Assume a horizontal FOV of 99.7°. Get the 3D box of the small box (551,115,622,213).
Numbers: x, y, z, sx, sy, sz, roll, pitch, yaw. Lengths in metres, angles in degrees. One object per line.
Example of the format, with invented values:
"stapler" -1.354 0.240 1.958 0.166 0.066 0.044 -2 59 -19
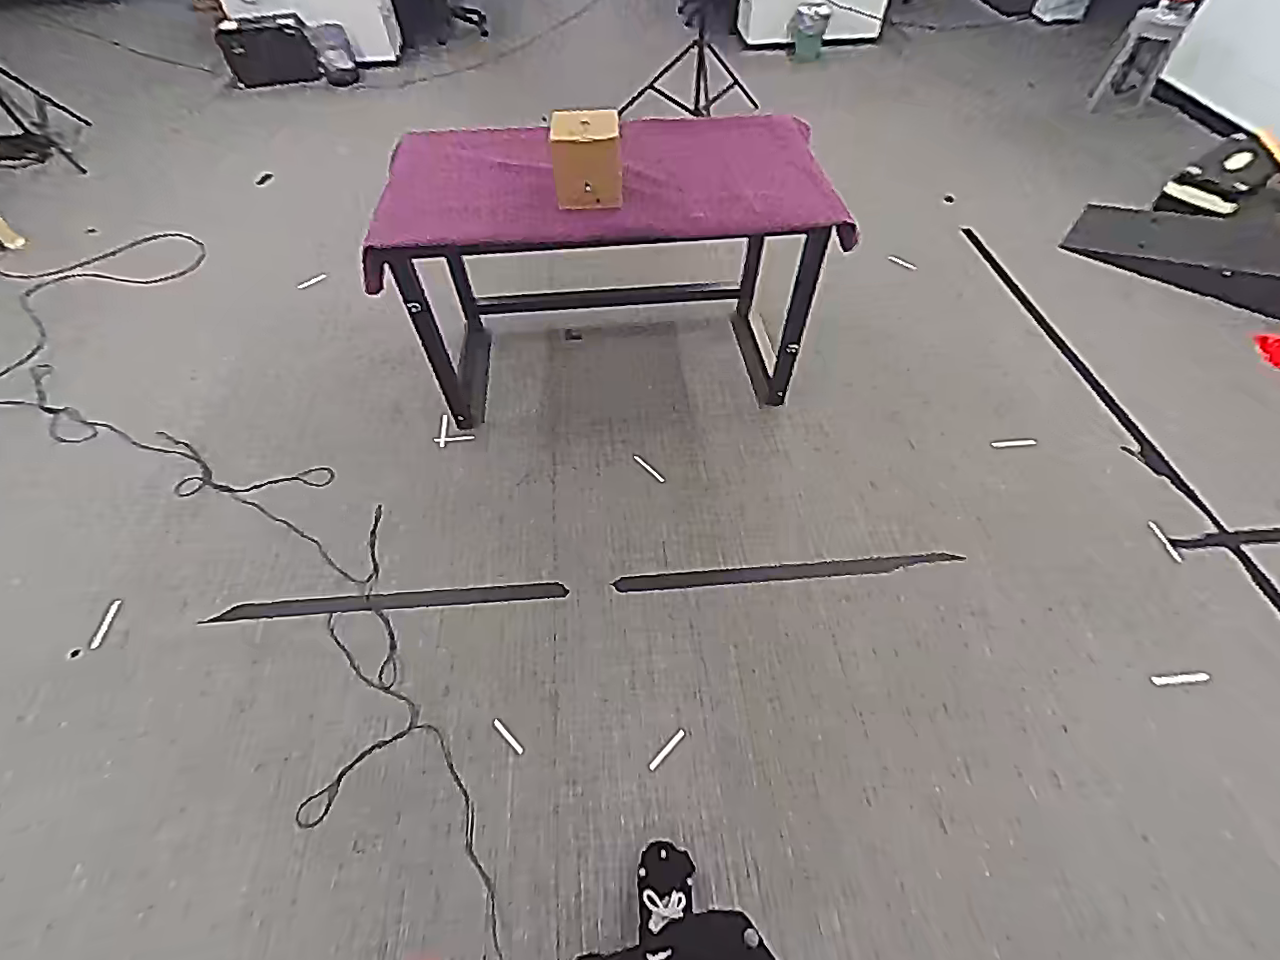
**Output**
"small box" -0.134 -0.813 1.395 0.168 0.176 0.179 -3 53 -1
